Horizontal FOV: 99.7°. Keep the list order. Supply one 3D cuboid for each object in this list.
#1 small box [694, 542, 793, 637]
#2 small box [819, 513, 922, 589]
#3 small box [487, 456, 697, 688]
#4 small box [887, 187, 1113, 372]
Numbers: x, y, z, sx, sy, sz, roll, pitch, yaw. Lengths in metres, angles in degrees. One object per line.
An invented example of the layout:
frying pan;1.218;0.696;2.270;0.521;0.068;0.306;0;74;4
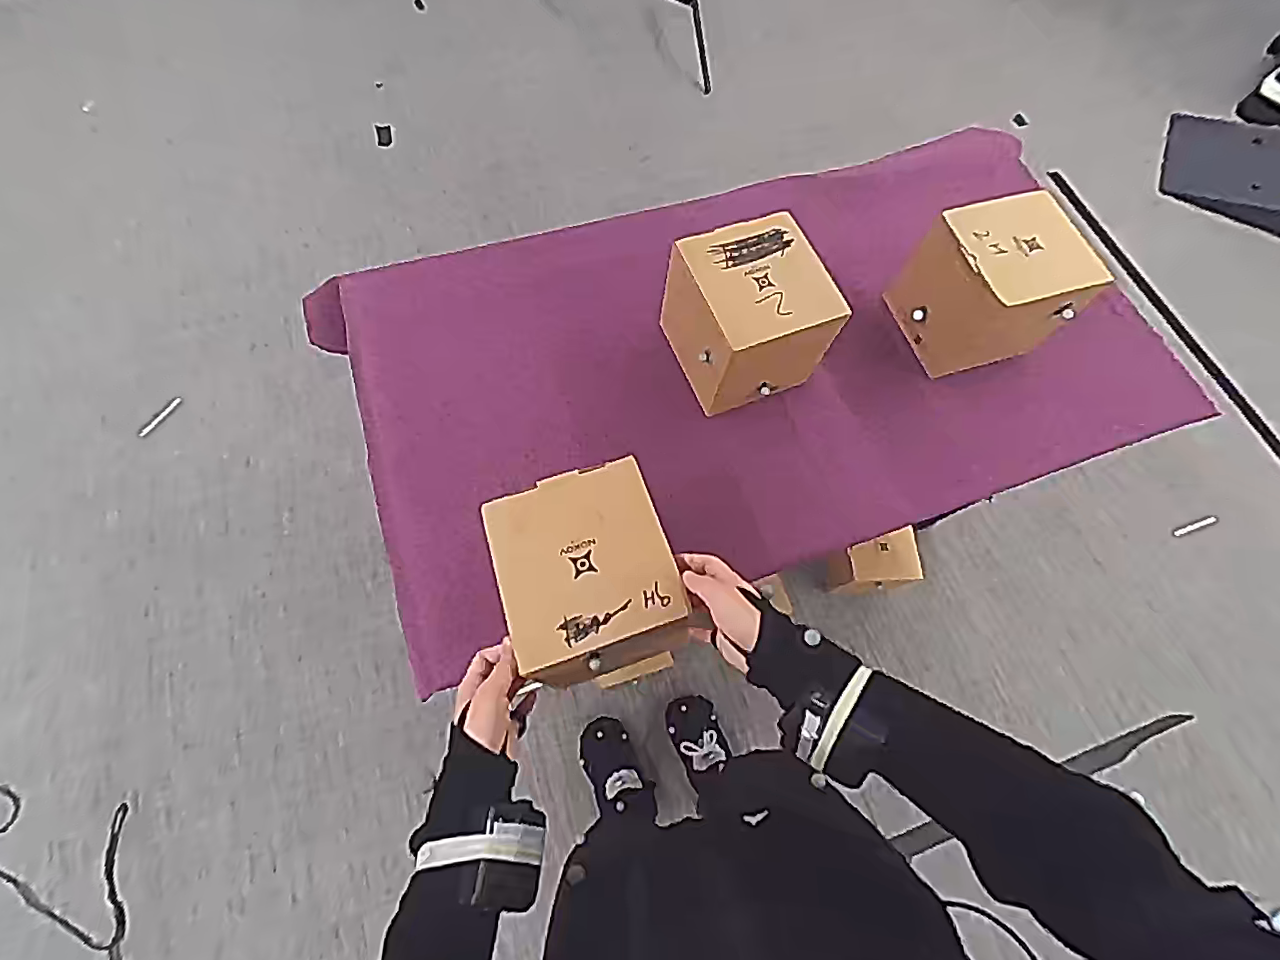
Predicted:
small box;0.246;0.275;1.337;0.168;0.176;0.179;-18;72;-10
small box;0.586;0.185;1.394;0.179;0.176;0.168;-2;70;-3
small box;-0.049;0.106;0.585;0.168;0.176;0.179;-18;64;-6
small box;0.502;-0.282;0.783;0.179;0.176;0.168;-16;70;-9
